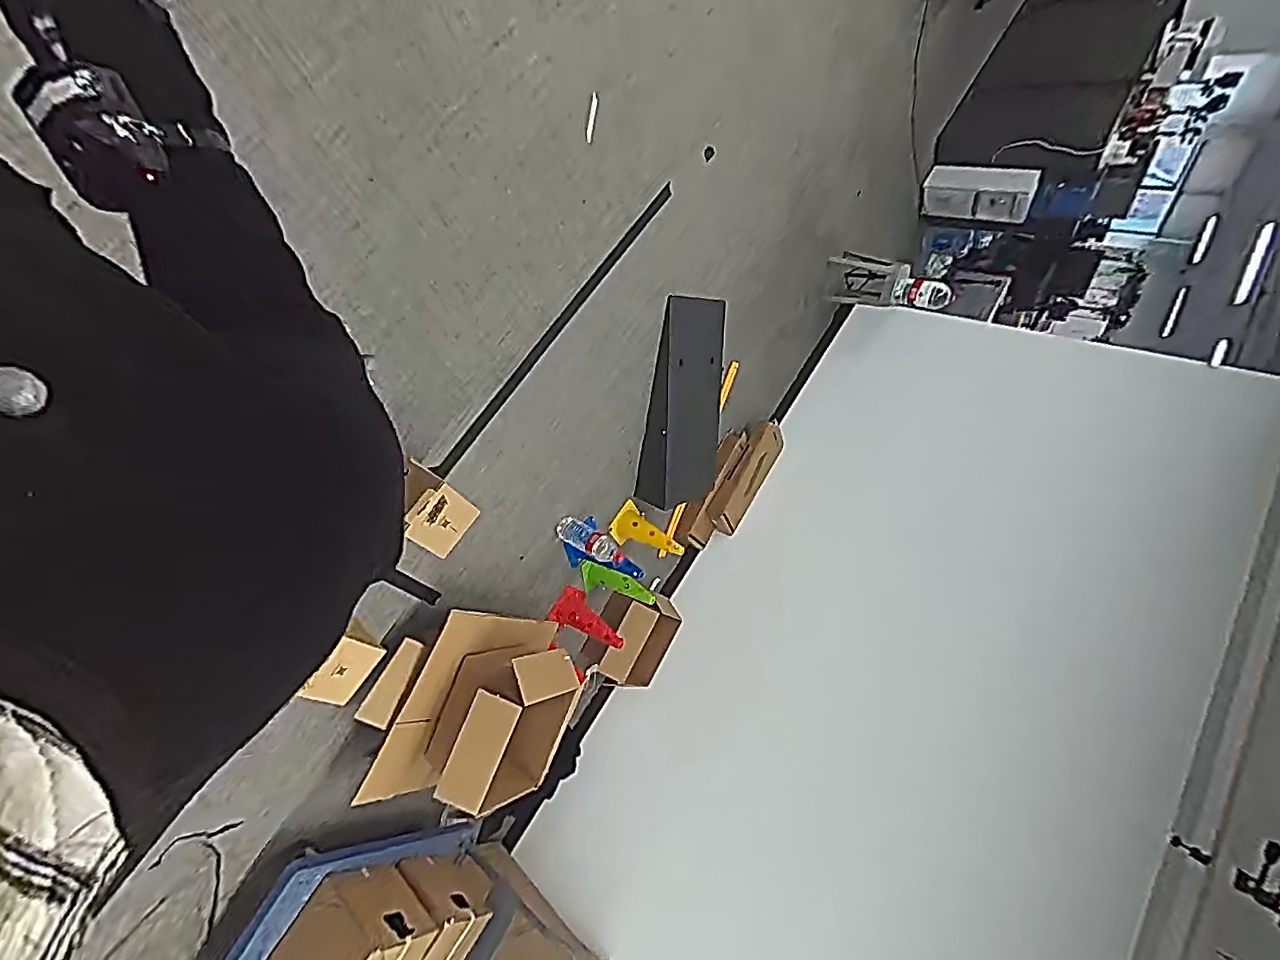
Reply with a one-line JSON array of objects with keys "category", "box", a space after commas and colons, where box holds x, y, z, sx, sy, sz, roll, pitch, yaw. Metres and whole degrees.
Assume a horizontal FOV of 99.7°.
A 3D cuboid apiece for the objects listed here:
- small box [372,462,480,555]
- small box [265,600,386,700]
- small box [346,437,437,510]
[{"category": "small box", "box": [-0.581, 0.071, 1.465, 0.168, 0.176, 0.179, -55, 149, -15]}, {"category": "small box", "box": [-0.807, 0.433, 1.388, 0.168, 0.176, 0.179, -54, 146, -14]}, {"category": "small box", "box": [-0.704, 0.006, 1.552, 0.179, 0.176, 0.168, -58, 149, -13]}]
